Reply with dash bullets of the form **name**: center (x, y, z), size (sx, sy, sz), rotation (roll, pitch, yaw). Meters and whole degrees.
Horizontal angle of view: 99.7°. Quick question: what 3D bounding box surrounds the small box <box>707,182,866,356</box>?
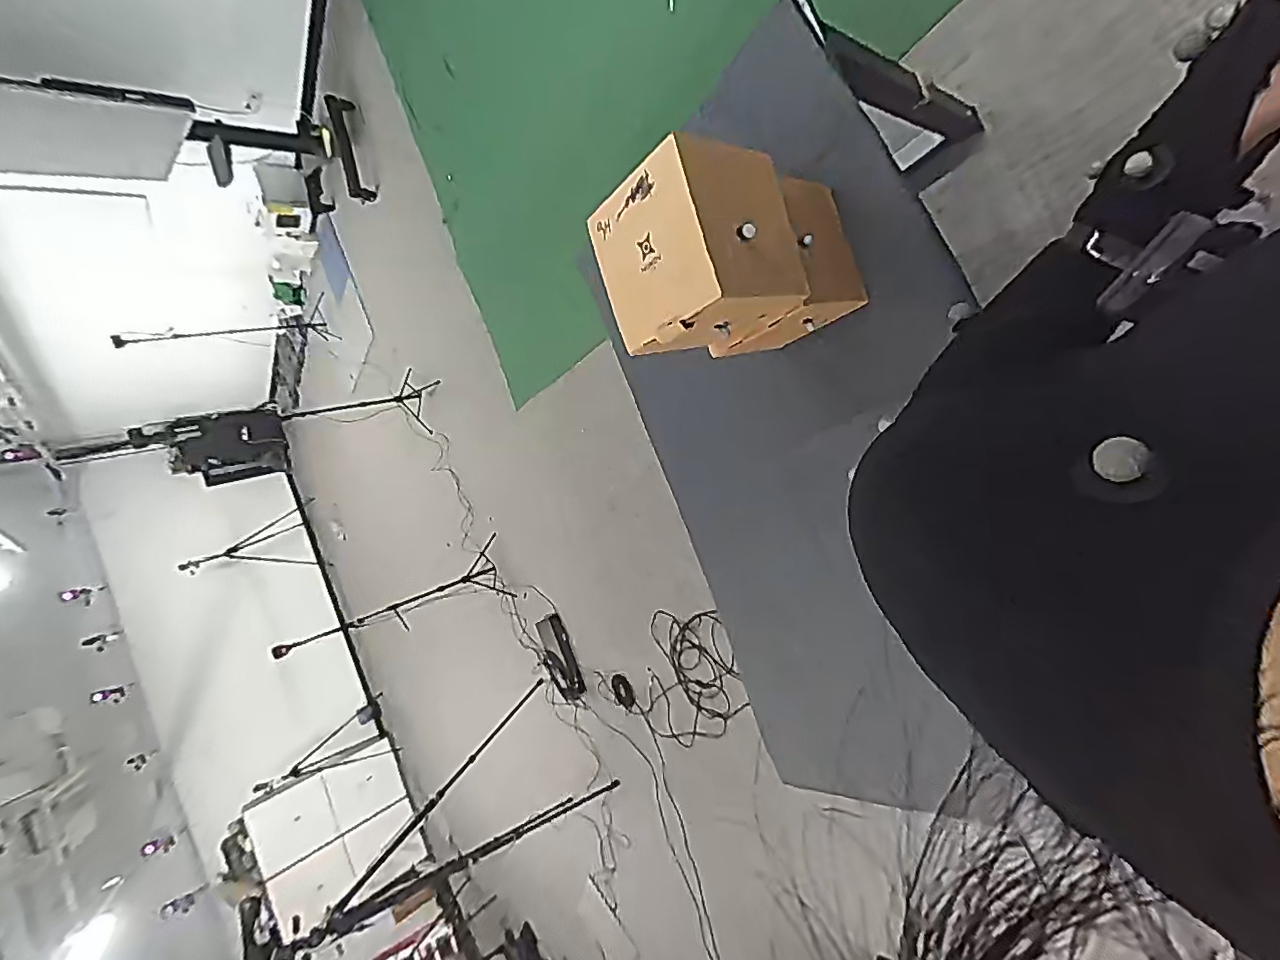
- **small box**: center (0.185, -0.292, 0.755), size (0.168, 0.176, 0.179), rotation (-20, 88, 50)

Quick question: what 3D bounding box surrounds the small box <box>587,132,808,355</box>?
- **small box**: center (0.071, -0.267, 0.638), size (0.168, 0.176, 0.179), rotation (-16, 93, 50)
